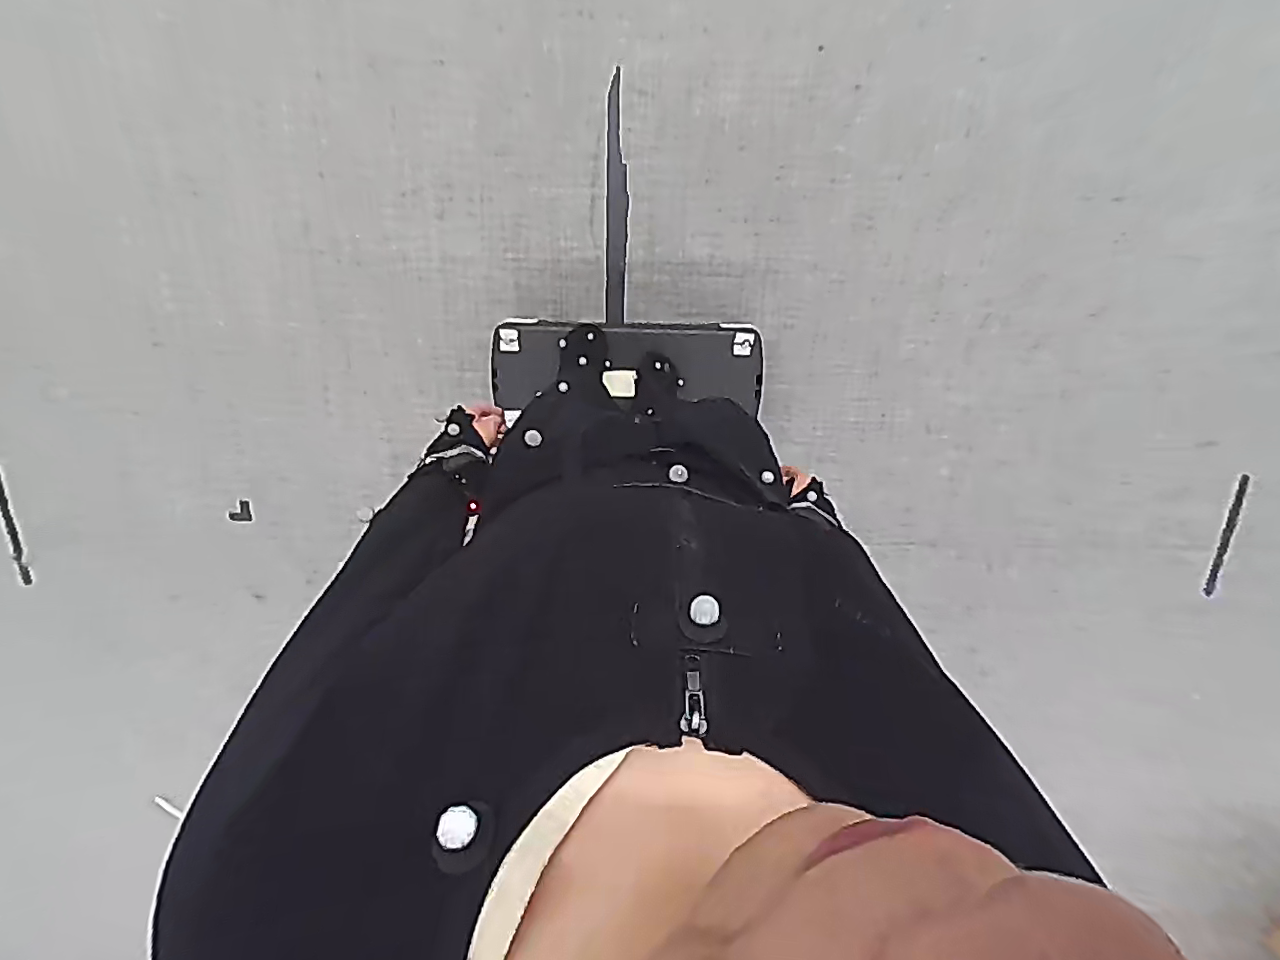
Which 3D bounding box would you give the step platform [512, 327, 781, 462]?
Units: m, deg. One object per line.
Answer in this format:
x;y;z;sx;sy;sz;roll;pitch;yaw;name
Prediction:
0.014;-0.225;1.417;0.684;0.204;0.286;5;106;-1;step platform
